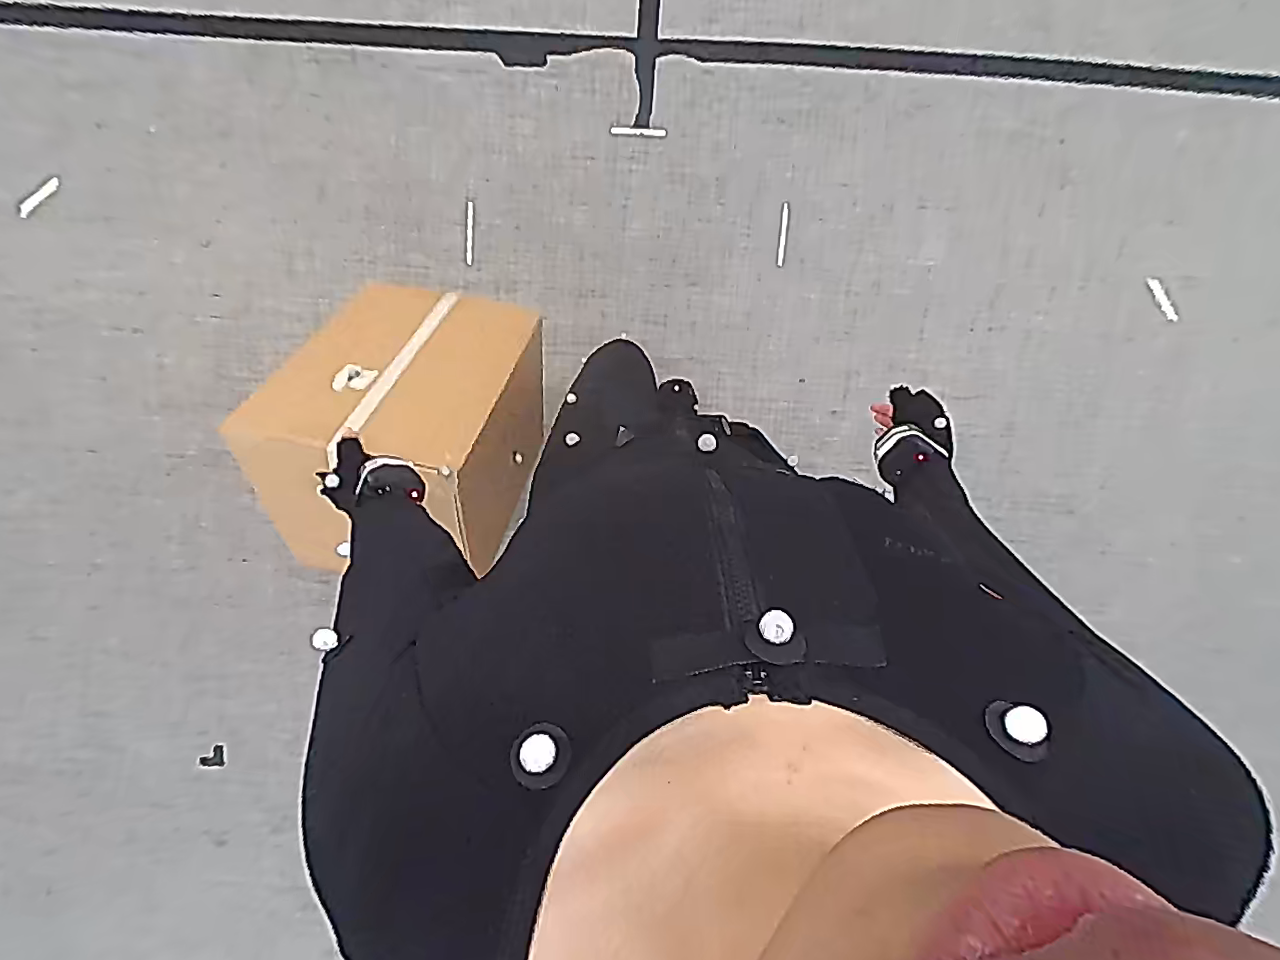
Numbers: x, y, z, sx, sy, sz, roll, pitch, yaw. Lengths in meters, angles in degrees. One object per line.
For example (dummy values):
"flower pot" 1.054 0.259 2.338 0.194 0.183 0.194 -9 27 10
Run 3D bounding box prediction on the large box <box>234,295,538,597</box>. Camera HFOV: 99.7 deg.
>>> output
"large box" -0.378 -0.067 0.951 0.320 0.408 0.320 10 137 2
